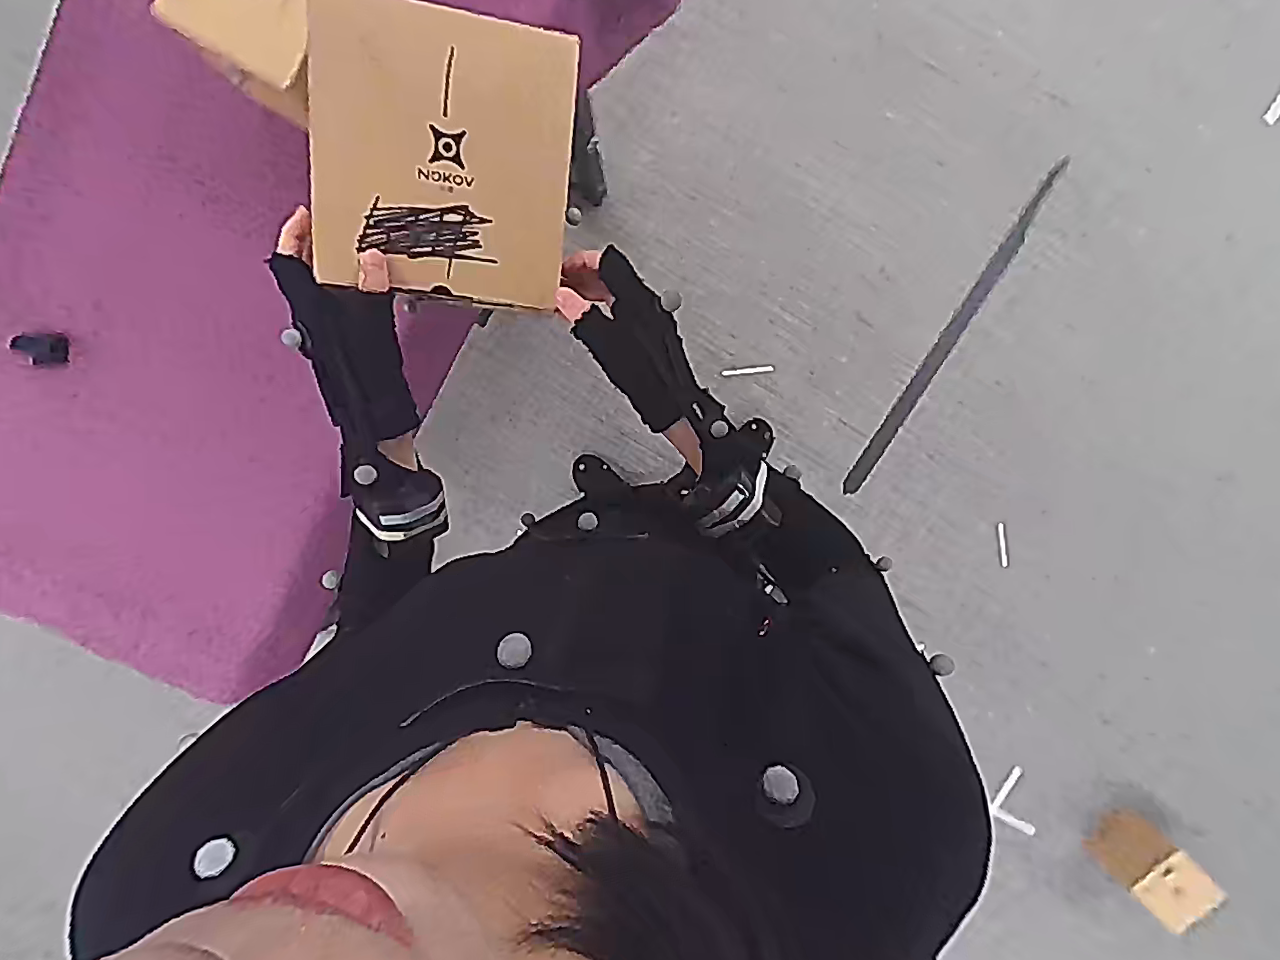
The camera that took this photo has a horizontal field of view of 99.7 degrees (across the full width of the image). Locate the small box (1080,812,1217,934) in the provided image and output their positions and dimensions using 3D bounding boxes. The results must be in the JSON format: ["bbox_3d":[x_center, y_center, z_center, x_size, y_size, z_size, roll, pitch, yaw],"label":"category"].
[{"bbox_3d":[1.378,1.063,1.479,0.168,0.176,0.179,-44,92,3],"label":"small box"}]

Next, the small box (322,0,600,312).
[{"bbox_3d":[-0.131,-0.238,0.432,0.168,0.176,0.179,7,103,-12],"label":"small box"}]

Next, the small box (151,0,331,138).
[{"bbox_3d":[-0.421,-0.553,0.669,0.179,0.176,0.168,30,95,-2],"label":"small box"}]
